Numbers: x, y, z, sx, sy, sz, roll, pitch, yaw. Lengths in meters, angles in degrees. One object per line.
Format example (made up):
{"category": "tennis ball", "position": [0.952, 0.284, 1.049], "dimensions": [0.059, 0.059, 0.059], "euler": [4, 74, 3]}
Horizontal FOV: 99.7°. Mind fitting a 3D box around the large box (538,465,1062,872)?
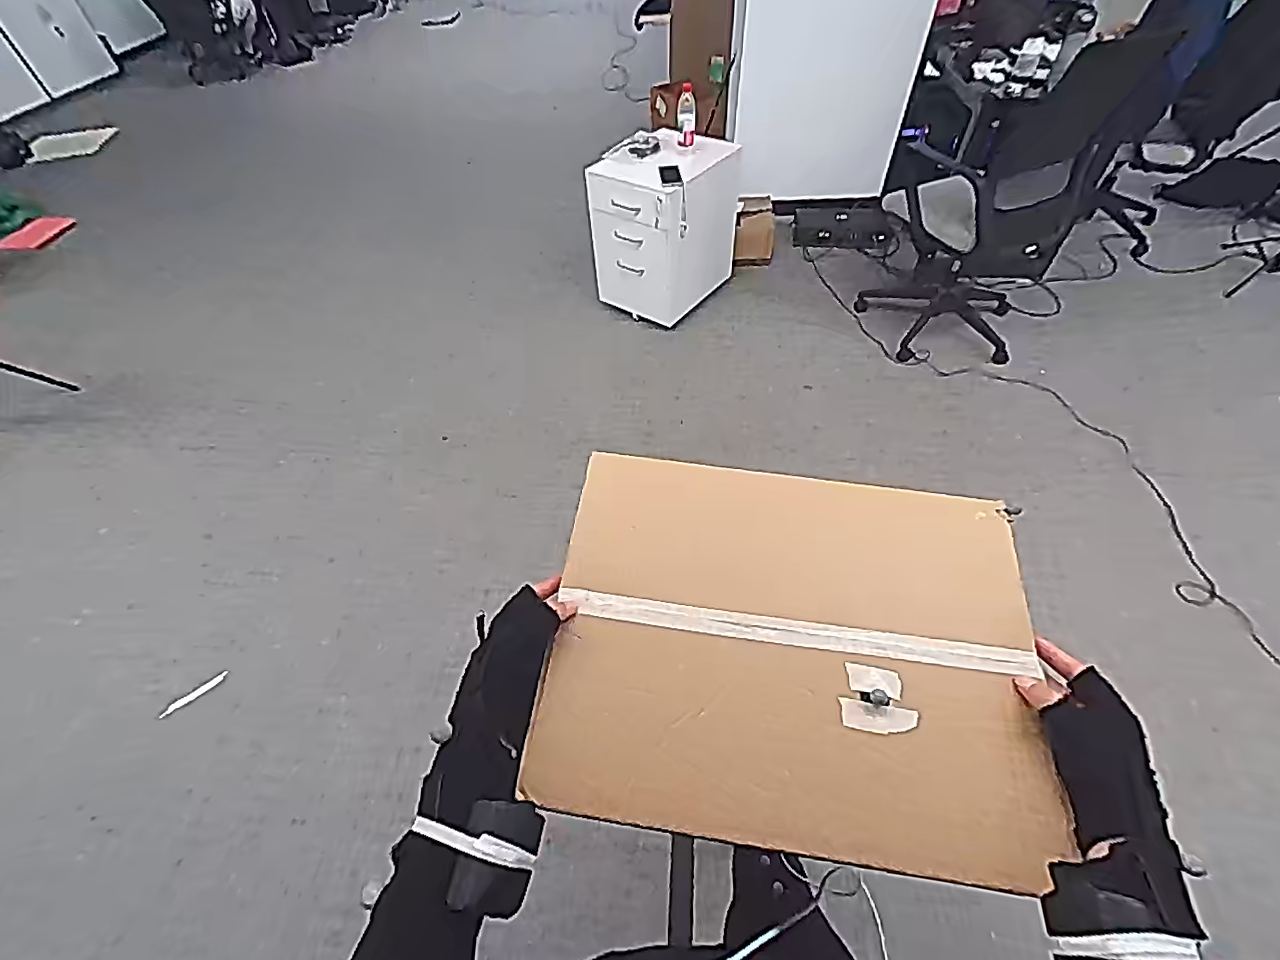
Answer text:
{"category": "large box", "position": [0.132, 0.209, 0.608], "dimensions": [0.408, 0.320, 0.320], "euler": [7, 61, 4]}
